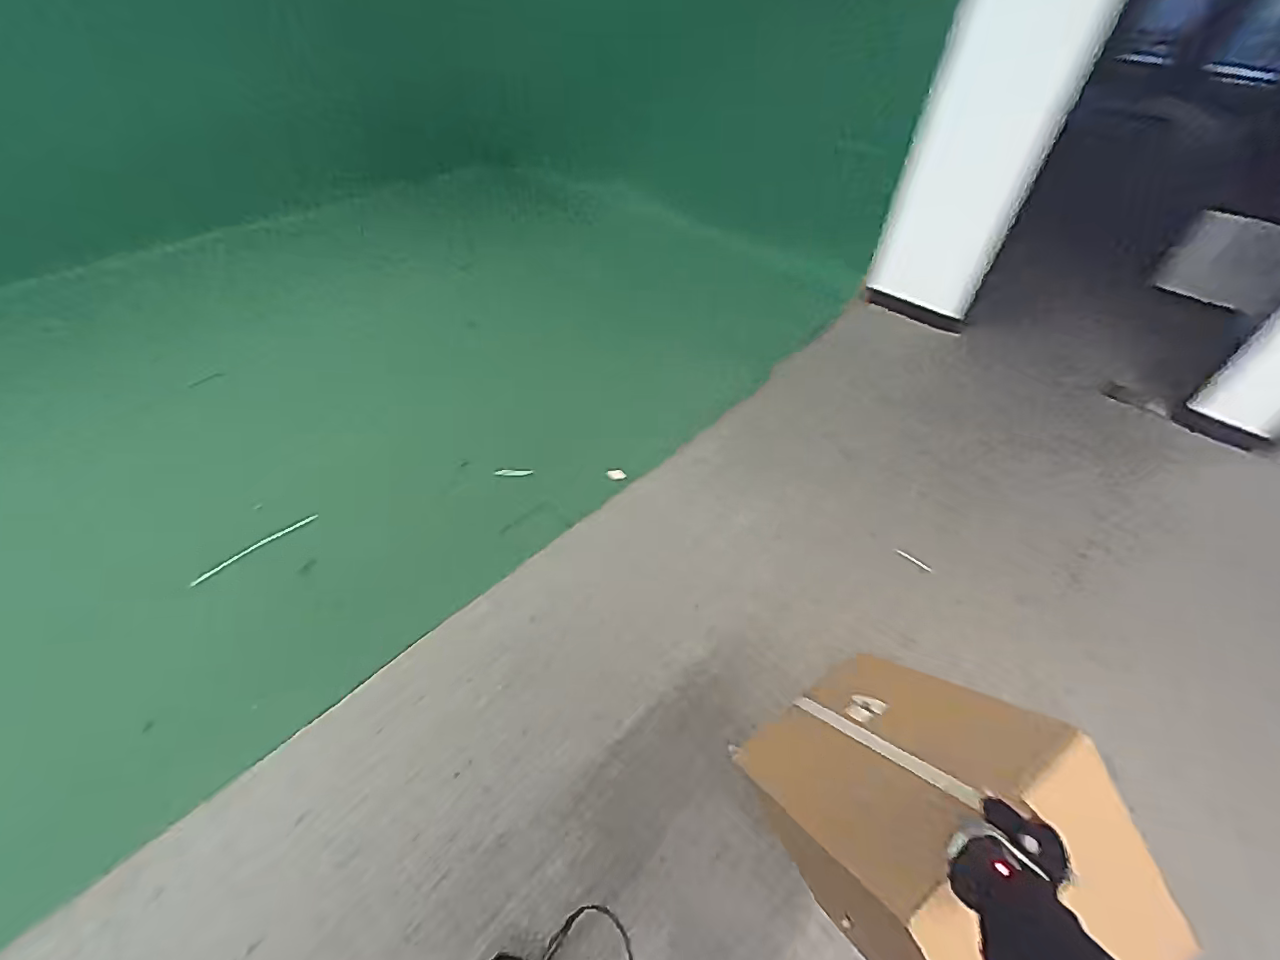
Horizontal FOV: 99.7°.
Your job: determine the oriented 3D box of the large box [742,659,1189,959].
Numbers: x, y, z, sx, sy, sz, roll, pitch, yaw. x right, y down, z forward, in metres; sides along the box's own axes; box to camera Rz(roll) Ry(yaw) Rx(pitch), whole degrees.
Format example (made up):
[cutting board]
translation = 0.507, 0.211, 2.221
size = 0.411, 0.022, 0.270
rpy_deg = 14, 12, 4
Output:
[large box]
translation = 0.428, 0.522, 0.797
size = 0.320, 0.408, 0.320
rpy_deg = -30, 93, -15
